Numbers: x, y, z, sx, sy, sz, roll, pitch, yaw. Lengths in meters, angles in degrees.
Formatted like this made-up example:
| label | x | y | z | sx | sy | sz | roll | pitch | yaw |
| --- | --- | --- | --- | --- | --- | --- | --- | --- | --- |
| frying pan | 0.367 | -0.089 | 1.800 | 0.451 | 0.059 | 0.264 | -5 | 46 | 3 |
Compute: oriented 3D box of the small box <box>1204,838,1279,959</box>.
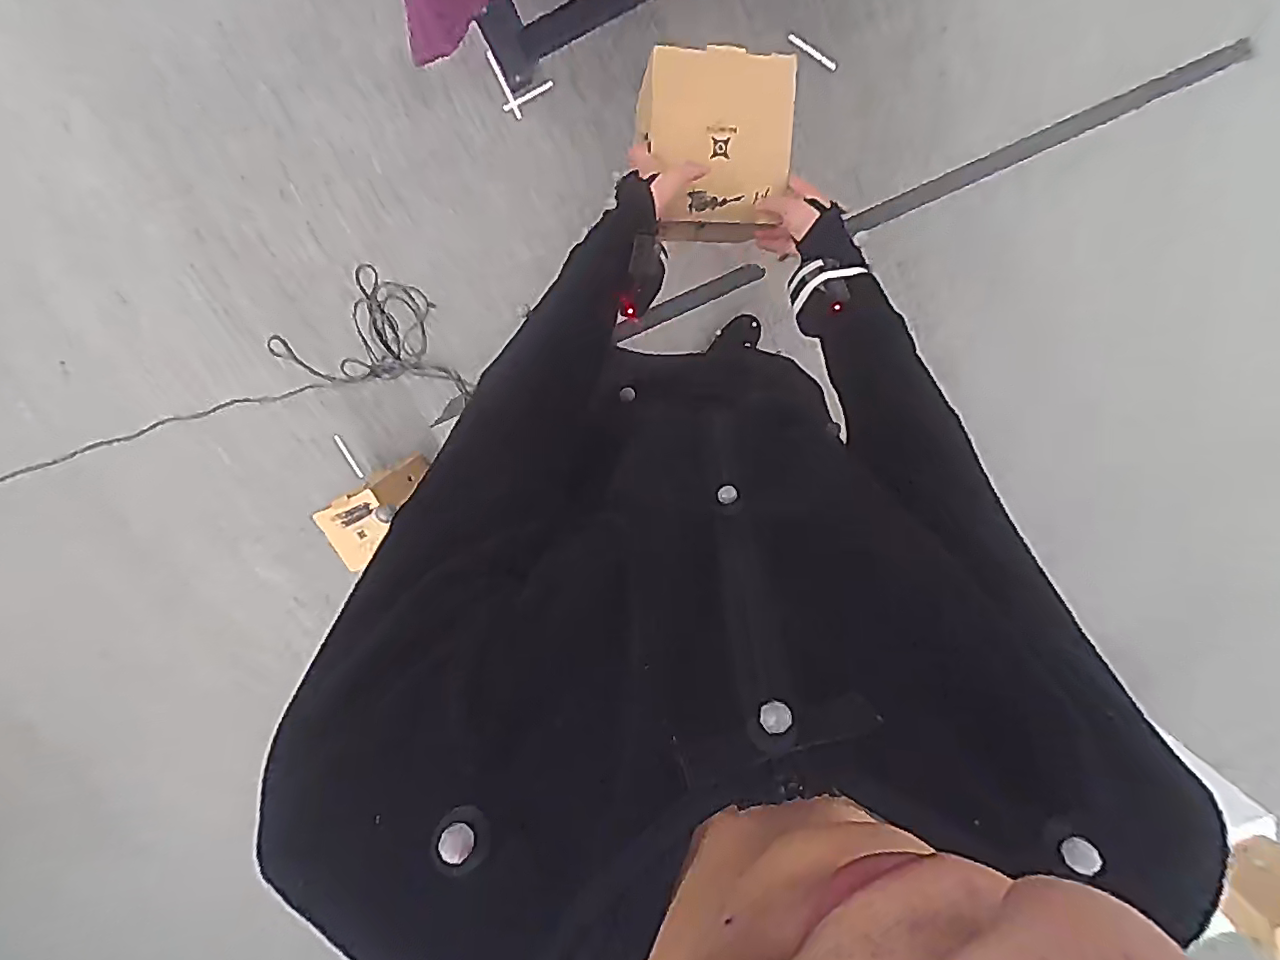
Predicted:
| label | x | y | z | sx | sy | sz | roll | pitch | yaw |
| --- | --- | --- | --- | --- | --- | --- | --- | --- | --- |
| small box | 1.524 | 1.013 | 1.301 | 0.168 | 0.176 | 0.179 | -23 | 108 | 7 |

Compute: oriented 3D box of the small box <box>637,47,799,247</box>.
| label | x | y | z | sx | sy | sz | roll | pitch | yaw |
| --- | --- | --- | --- | --- | --- | --- | --- | --- | --- |
| small box | 0.085 | -0.404 | 0.686 | 0.168 | 0.176 | 0.179 | -1 | 108 | -6 |
